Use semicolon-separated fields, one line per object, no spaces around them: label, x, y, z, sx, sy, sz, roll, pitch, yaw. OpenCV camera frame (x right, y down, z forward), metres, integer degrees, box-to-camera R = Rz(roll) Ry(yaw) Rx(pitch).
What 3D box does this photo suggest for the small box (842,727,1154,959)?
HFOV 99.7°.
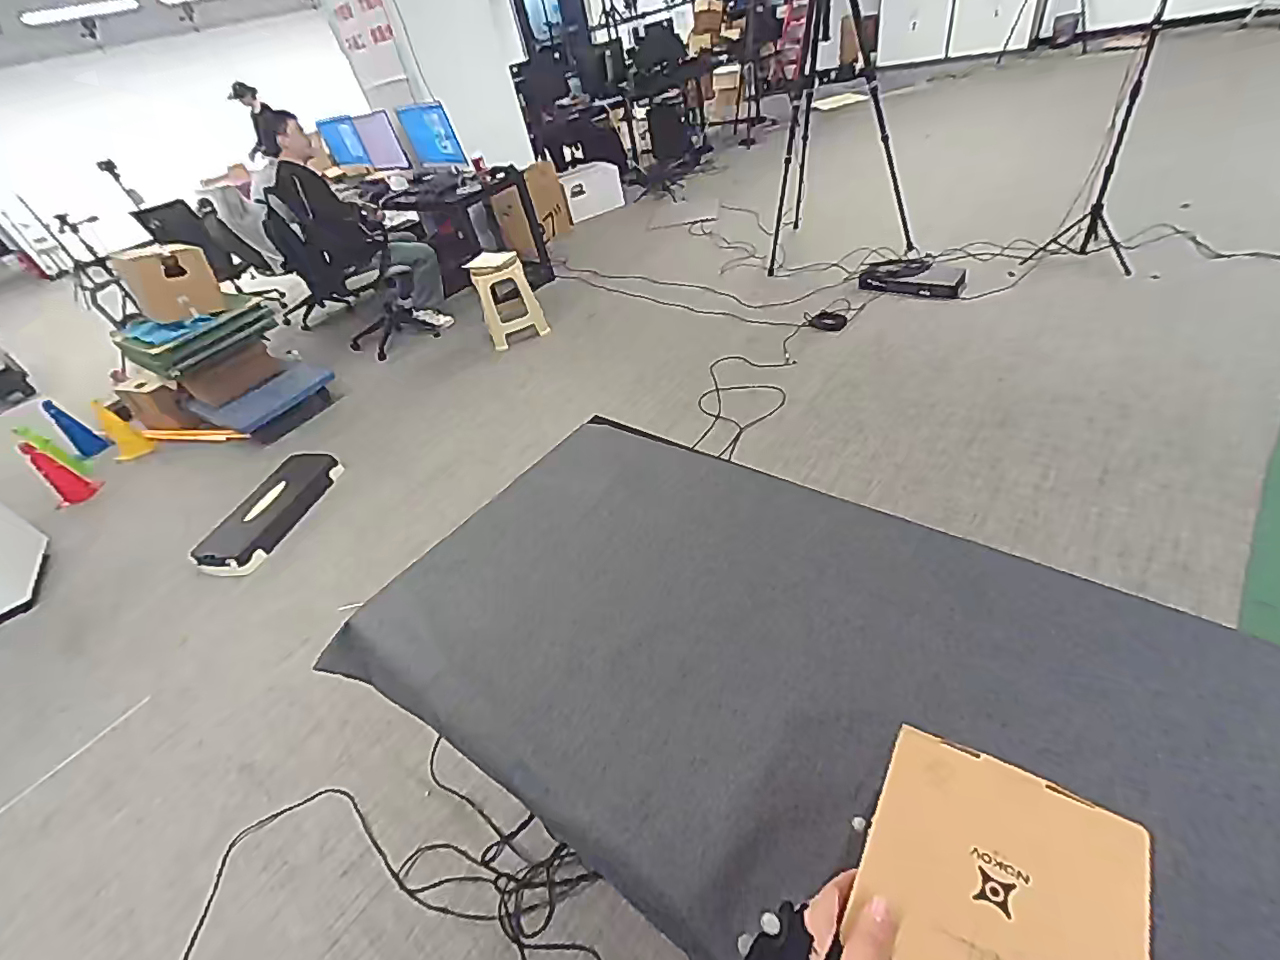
small box;0.265;0.343;0.427;0.168;0.176;0.179;15;49;32
